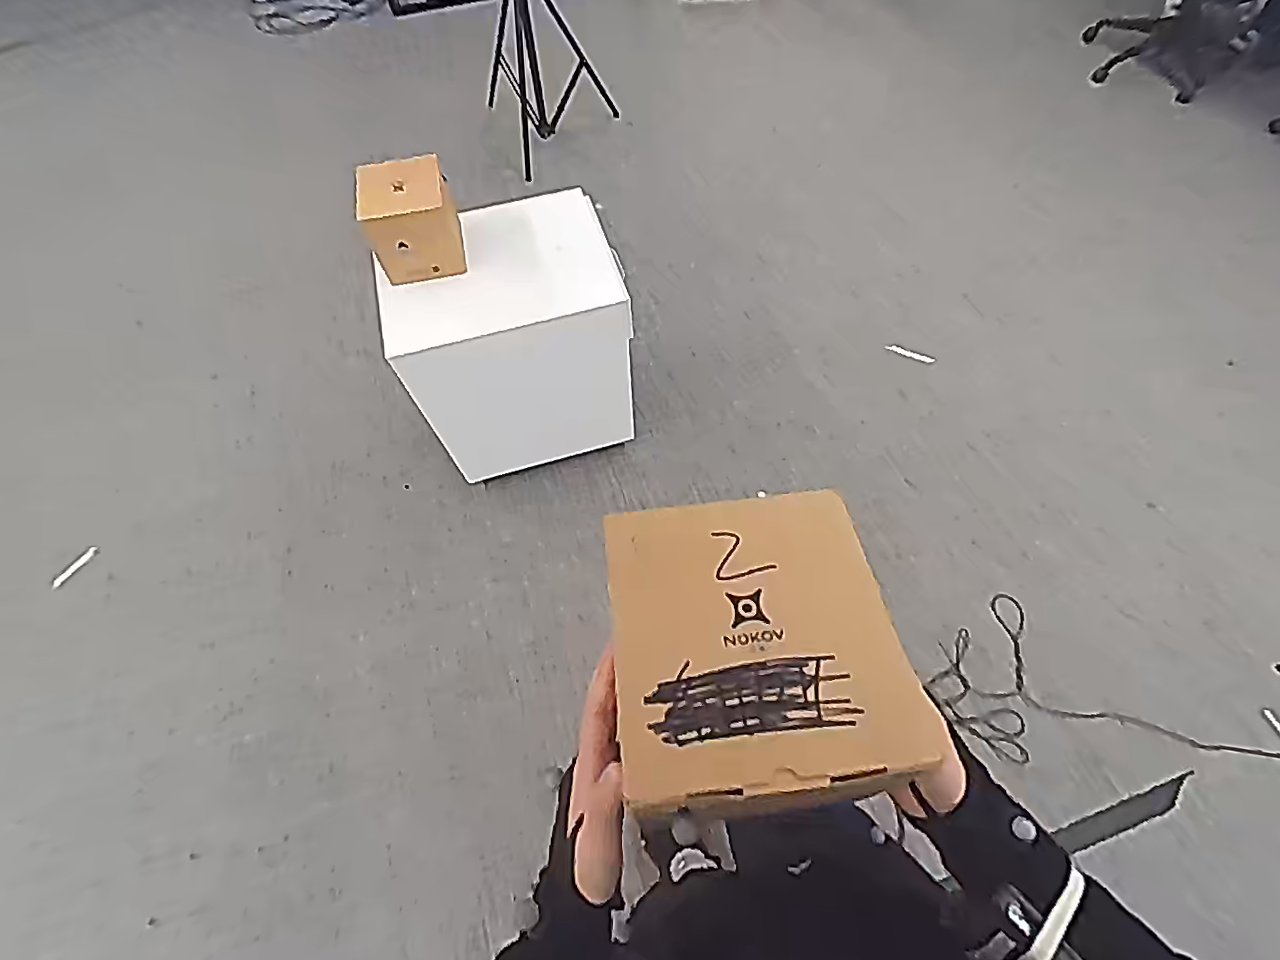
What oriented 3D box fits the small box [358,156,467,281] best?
[{"bbox_3d":[-0.477,-0.545,1.148,0.168,0.176,0.179,-13,63,-6],"label":"small box"}]
